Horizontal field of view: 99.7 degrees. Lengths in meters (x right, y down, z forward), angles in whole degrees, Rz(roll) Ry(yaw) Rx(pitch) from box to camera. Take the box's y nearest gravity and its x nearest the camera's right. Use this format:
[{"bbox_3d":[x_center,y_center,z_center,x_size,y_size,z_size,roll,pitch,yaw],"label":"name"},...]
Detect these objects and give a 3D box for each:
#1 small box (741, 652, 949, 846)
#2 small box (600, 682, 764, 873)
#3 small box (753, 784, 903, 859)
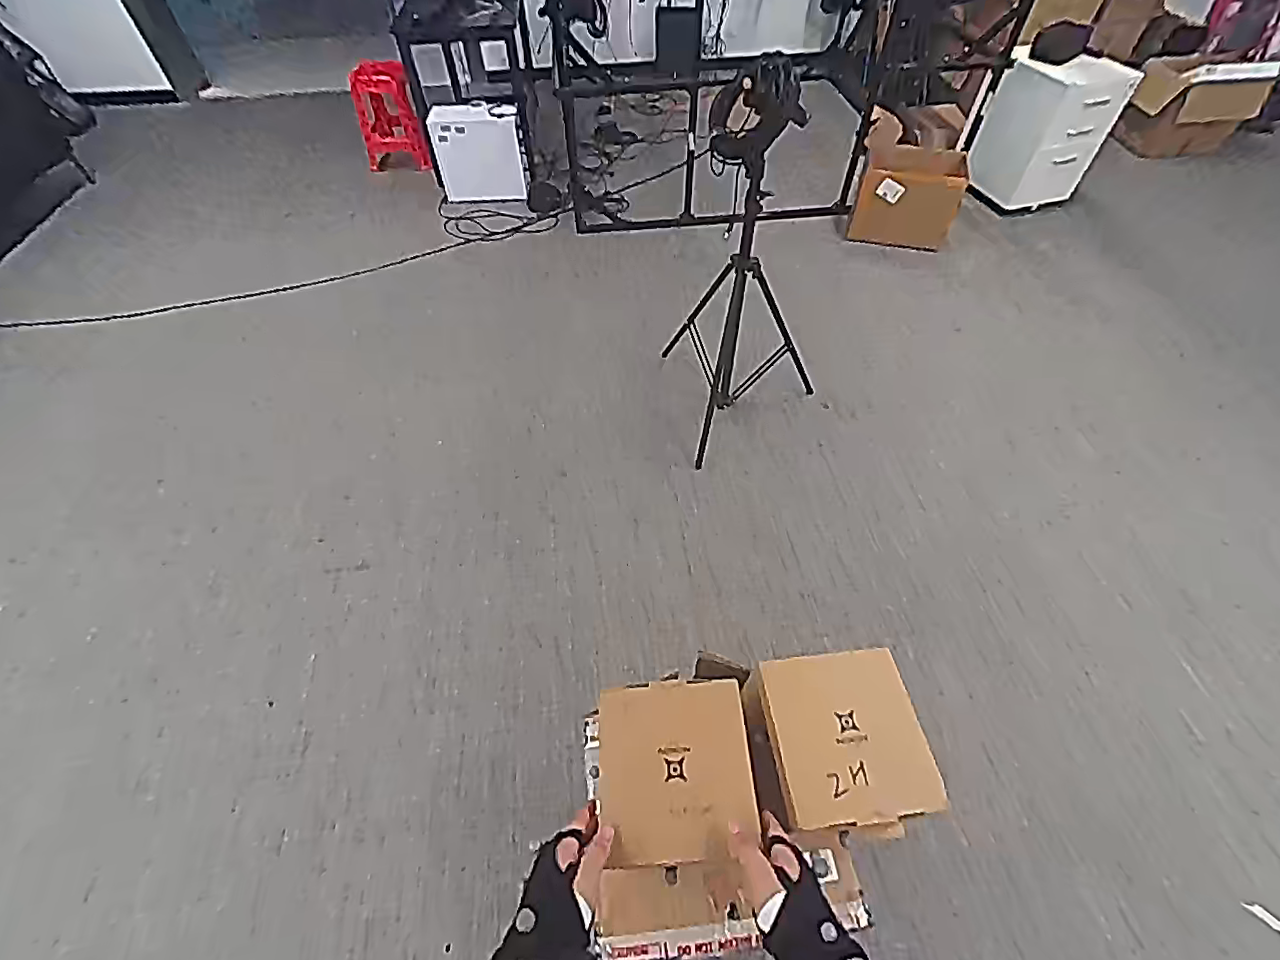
[{"bbox_3d":[0.228,0.332,0.664,0.168,0.176,0.179,-5,54,-4],"label":"small box"},{"bbox_3d":[0.041,0.358,0.646,0.168,0.176,0.179,-5,55,1],"label":"small box"},{"bbox_3d":[0.244,0.439,0.789,0.168,0.176,0.179,-3,54,-3],"label":"small box"}]
